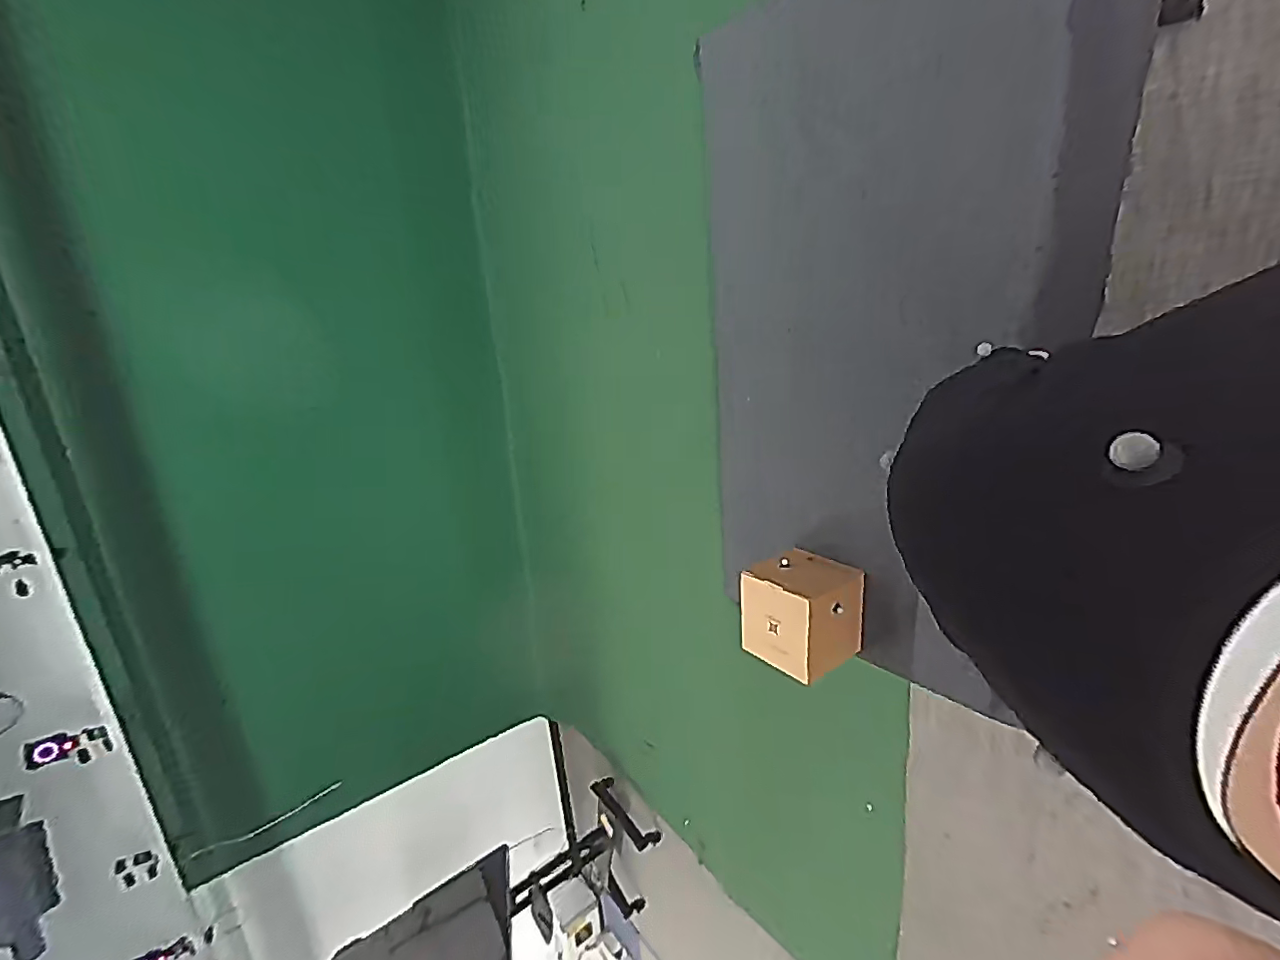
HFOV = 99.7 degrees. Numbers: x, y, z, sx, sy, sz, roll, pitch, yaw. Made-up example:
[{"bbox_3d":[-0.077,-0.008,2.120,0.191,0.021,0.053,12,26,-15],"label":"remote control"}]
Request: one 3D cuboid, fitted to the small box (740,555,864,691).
[{"bbox_3d":[0.314,0.264,1.051,0.168,0.176,0.179,21,119,53],"label":"small box"}]
